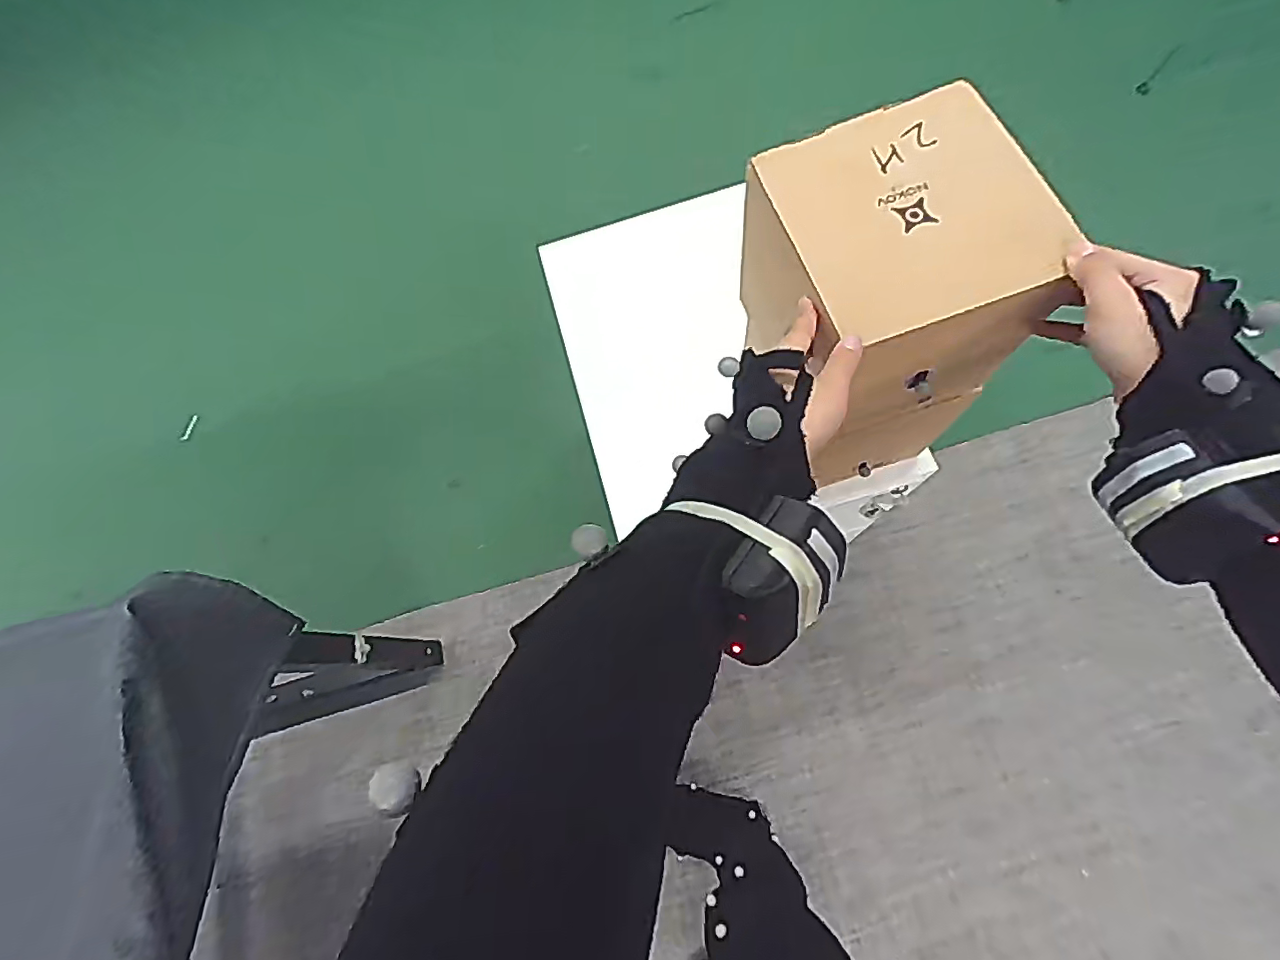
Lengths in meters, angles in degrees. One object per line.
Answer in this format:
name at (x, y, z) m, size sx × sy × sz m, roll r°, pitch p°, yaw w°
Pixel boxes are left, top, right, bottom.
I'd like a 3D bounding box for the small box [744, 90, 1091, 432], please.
small box at (0.193, -0.156, 0.441) m, size 0.168 × 0.176 × 0.179 m, roll -18°, pitch 70°, yaw 1°
